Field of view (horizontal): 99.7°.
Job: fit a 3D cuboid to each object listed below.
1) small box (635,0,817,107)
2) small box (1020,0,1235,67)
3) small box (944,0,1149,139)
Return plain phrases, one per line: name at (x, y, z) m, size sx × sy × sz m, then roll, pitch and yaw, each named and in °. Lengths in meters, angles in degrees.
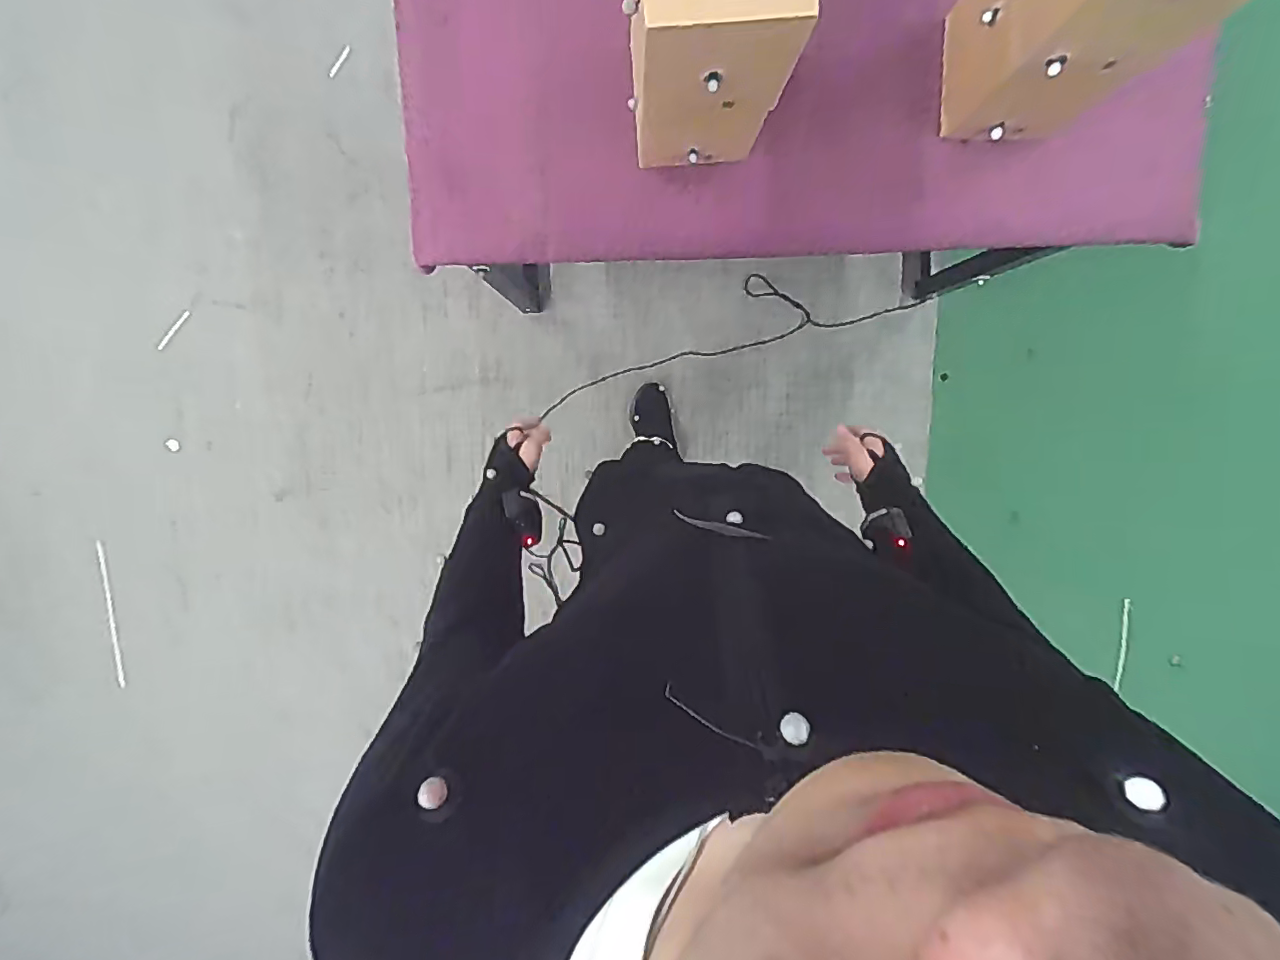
small box at (0.079, -0.521, 0.567) m, size 0.168 × 0.176 × 0.179 m, roll -4°, pitch 98°, yaw 0°
small box at (0.532, -0.568, 0.562) m, size 0.168 × 0.176 × 0.179 m, roll 0°, pitch 96°, yaw 2°
small box at (0.535, -0.592, 0.724) m, size 0.168 × 0.176 × 0.179 m, roll 0°, pitch 97°, yaw 1°
